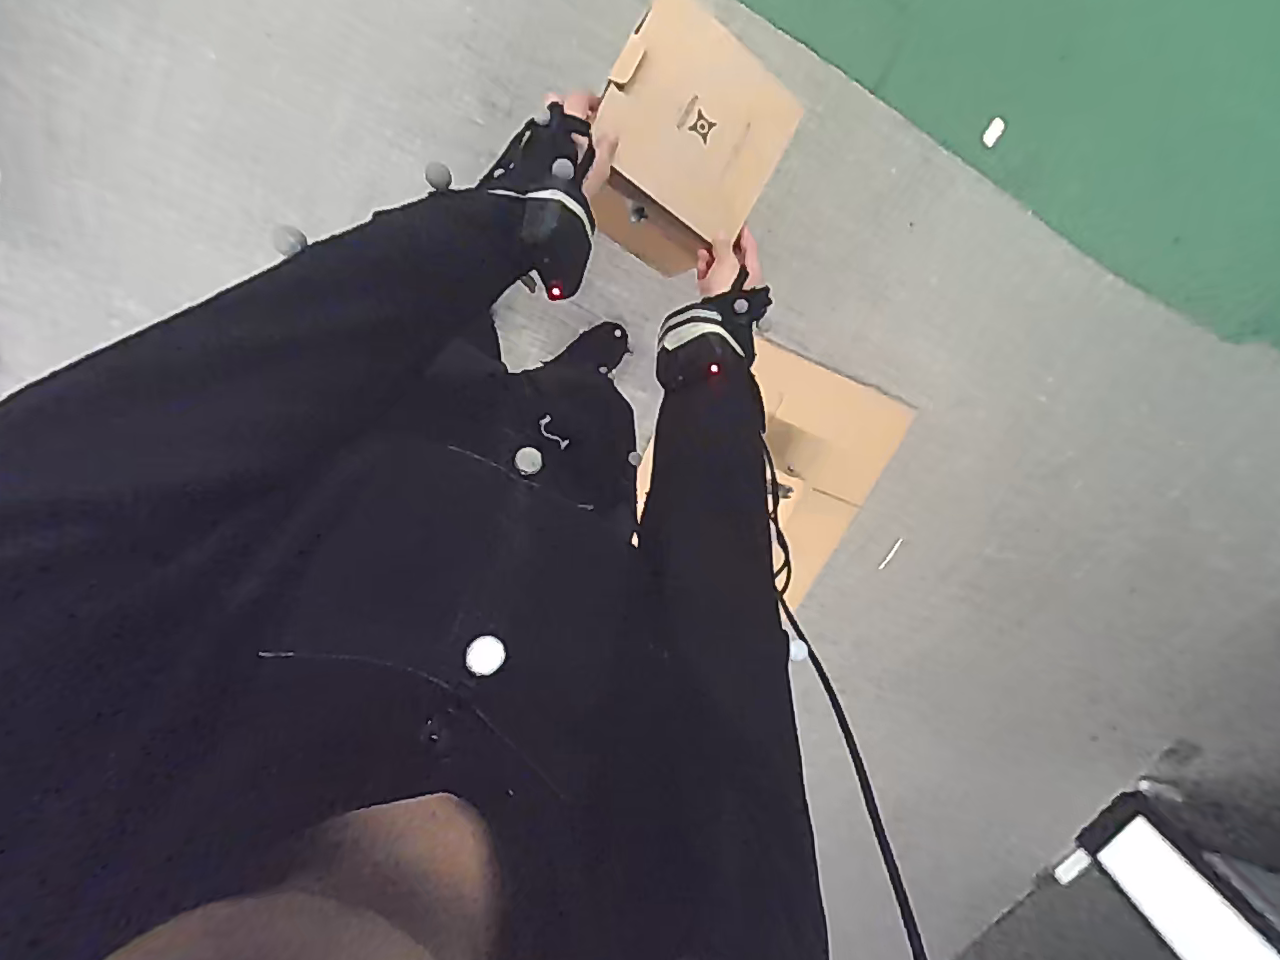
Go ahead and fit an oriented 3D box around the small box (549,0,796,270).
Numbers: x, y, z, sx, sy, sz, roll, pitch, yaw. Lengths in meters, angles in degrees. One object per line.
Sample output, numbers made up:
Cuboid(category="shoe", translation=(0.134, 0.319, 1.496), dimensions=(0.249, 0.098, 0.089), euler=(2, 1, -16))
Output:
Cuboid(category="small box", translation=(0.021, -0.349, 0.578), dimensions=(0.179, 0.176, 0.168), euler=(27, 92, -23))
